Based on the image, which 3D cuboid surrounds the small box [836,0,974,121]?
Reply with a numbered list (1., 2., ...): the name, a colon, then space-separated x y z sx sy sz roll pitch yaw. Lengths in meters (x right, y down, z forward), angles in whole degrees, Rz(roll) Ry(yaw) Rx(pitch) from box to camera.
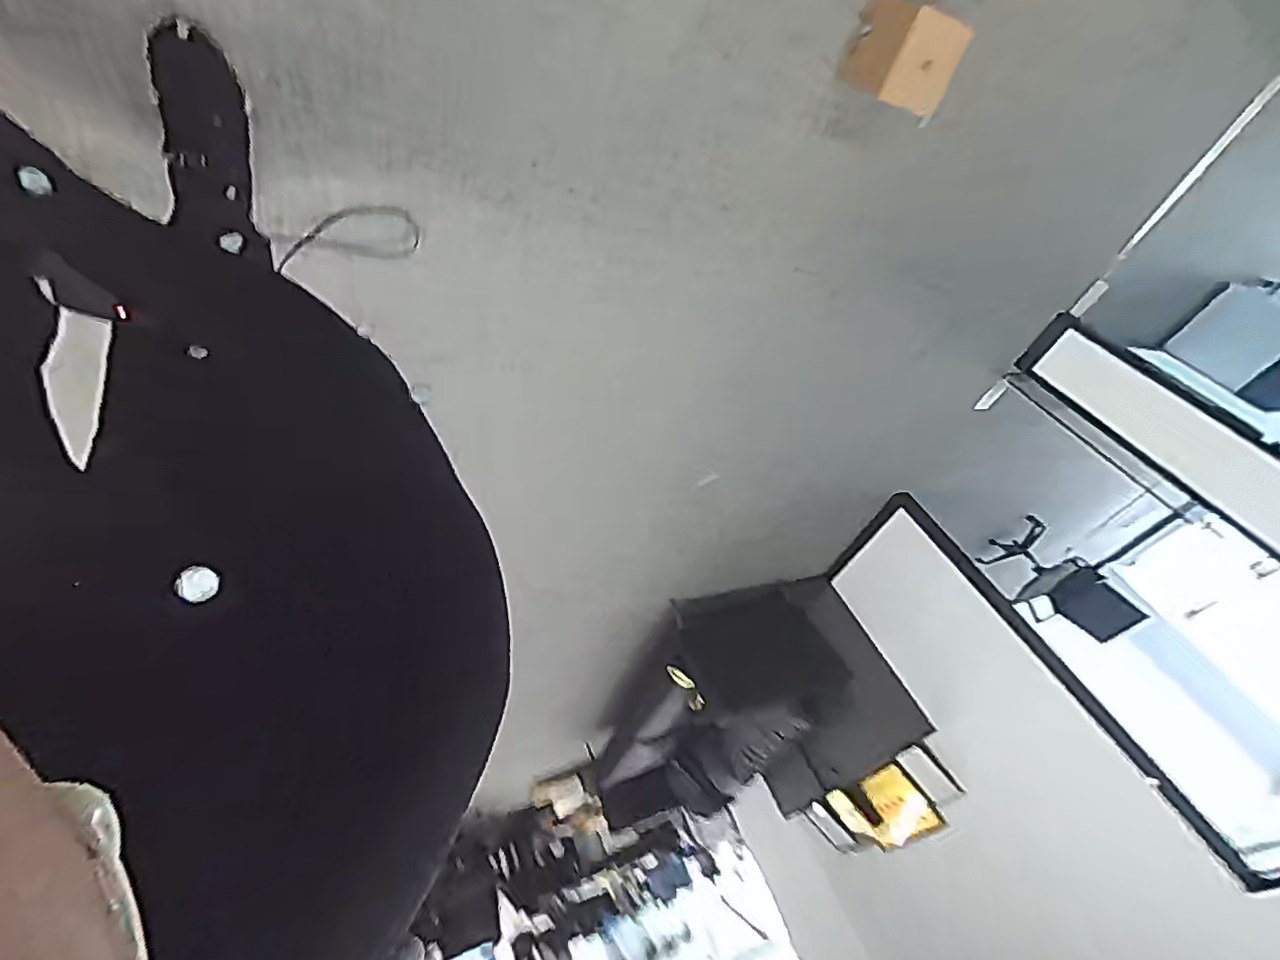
1. small box: 0.583 -0.938 1.208 0.179 0.176 0.168 -4 137 -28
